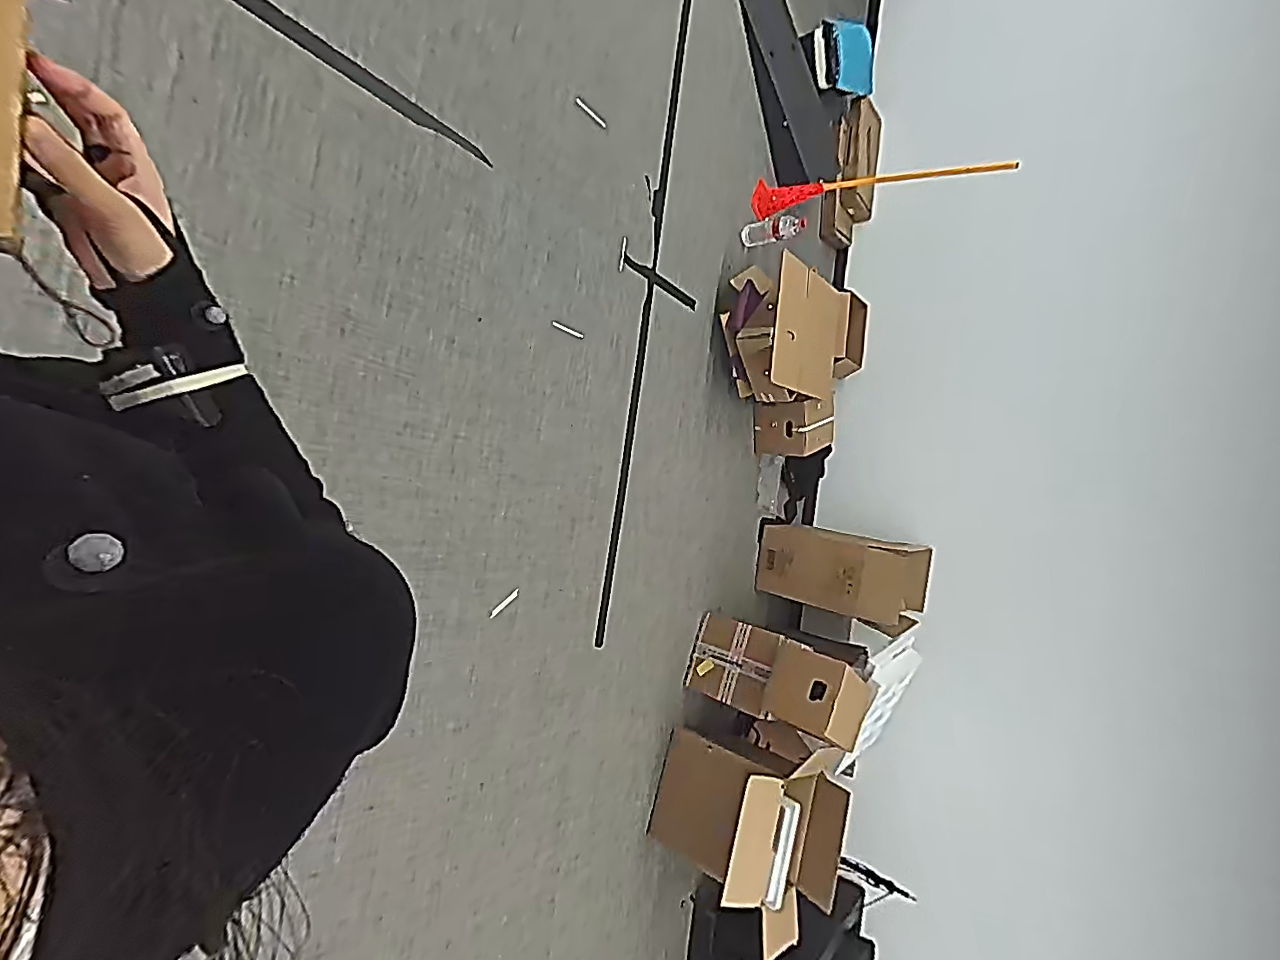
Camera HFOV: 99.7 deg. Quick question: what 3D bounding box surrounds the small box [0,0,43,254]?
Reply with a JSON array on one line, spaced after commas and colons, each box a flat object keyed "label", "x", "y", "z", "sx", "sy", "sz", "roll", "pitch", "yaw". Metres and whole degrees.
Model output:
[{"label": "small box", "x": -0.401, "y": -0.219, "z": 0.247, "sx": 0.168, "sy": 0.176, "sz": 0.179, "roll": 4, "pitch": 98, "yaw": -50}]
